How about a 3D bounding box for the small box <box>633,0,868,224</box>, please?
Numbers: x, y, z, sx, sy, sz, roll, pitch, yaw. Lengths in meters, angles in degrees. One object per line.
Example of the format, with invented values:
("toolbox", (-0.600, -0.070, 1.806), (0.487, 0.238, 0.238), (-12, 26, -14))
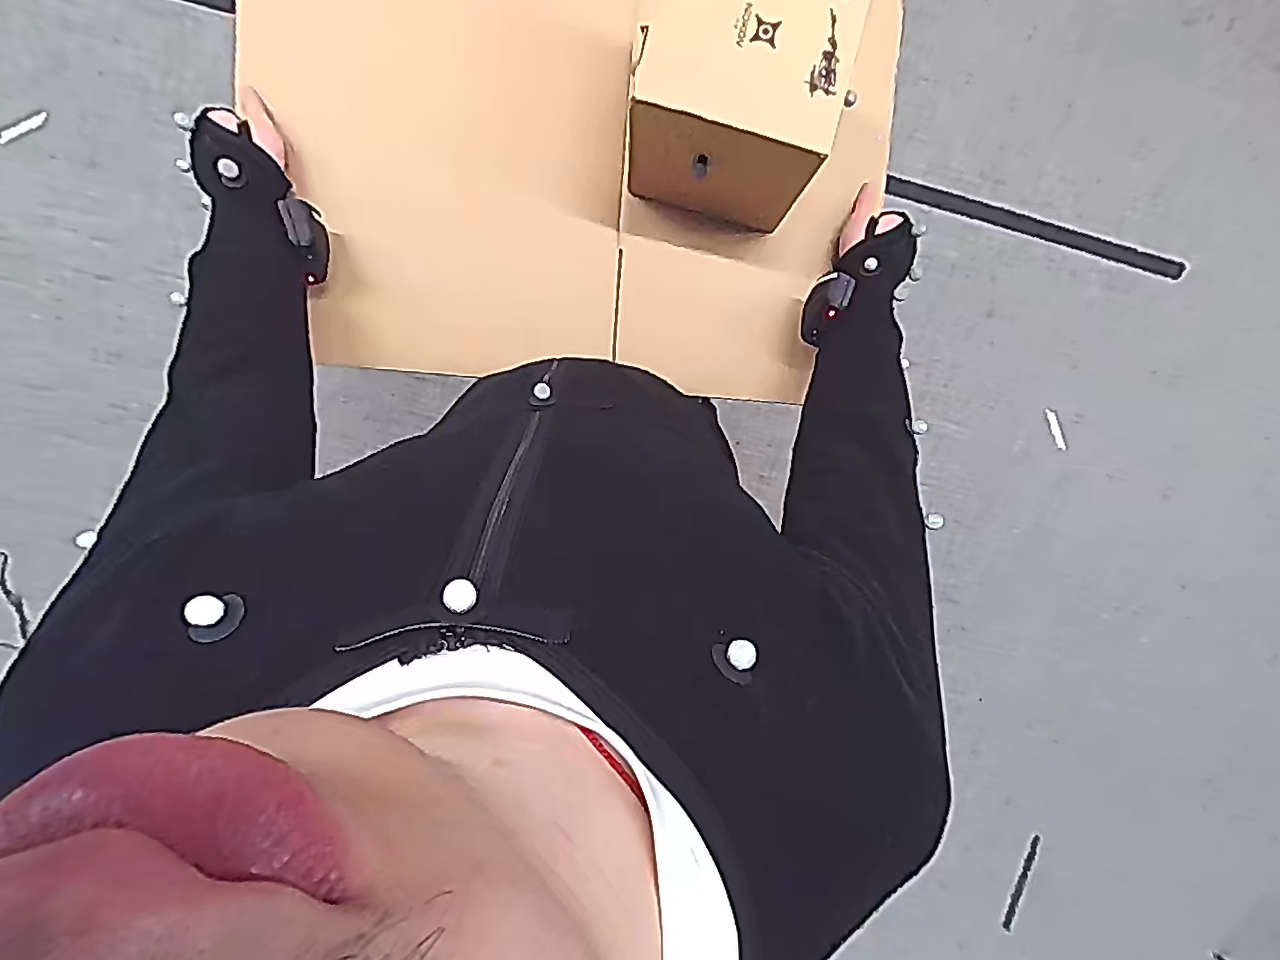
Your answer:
("small box", (0.095, -0.382, 0.535), (0.179, 0.176, 0.168), (14, 93, -2))
